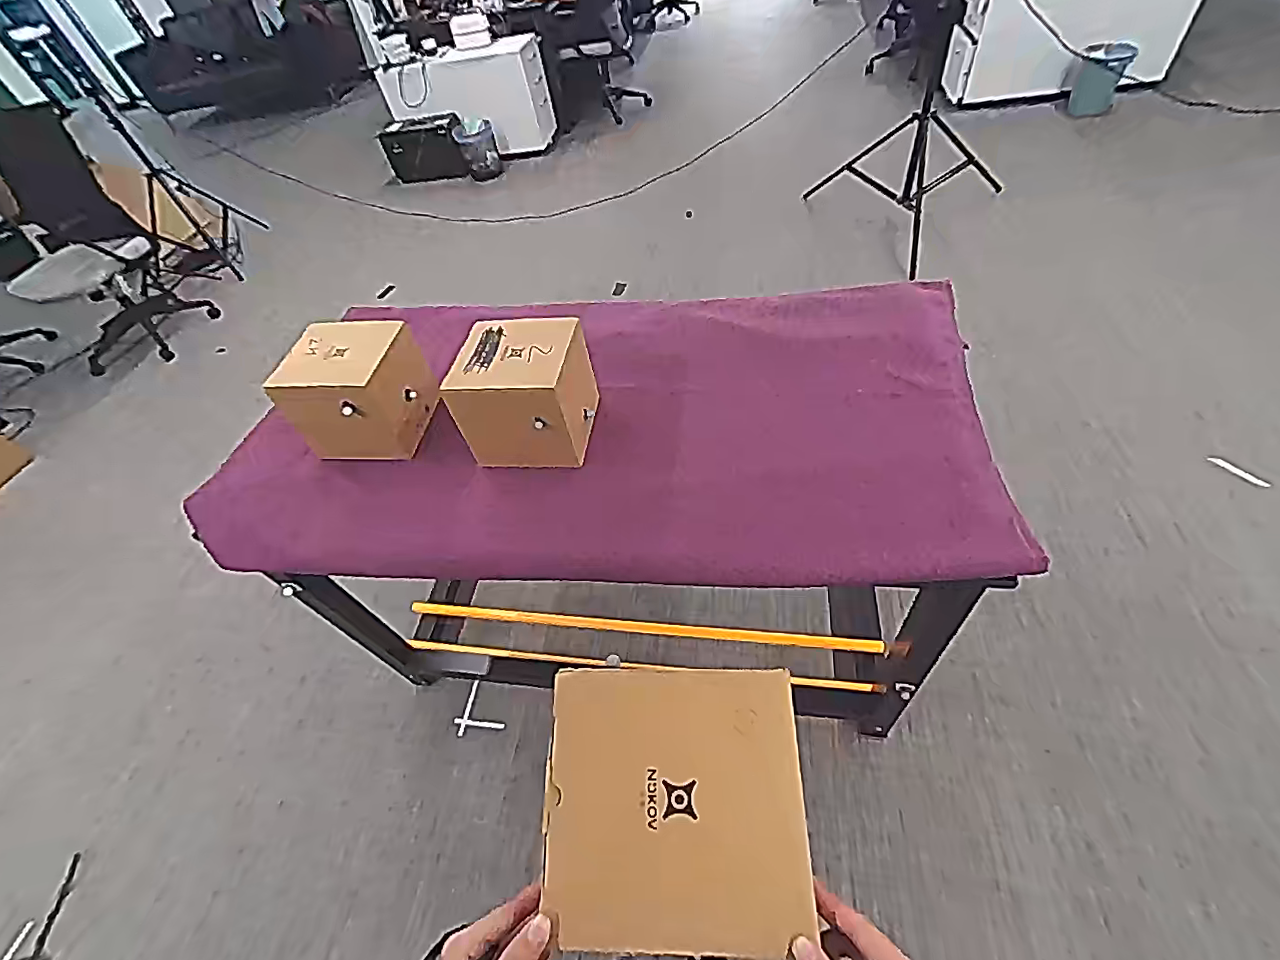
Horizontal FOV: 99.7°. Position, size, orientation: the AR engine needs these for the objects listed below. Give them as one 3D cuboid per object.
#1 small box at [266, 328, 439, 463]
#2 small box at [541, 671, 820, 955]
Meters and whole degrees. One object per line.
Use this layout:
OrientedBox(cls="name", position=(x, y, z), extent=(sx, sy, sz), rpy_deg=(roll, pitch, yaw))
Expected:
OrientedBox(cls="small box", position=(-0.474, -0.141, 0.928), extent=(0.179, 0.176, 0.168), rpy_deg=(1, 50, 8))
OrientedBox(cls="small box", position=(0.032, 0.251, 0.439), extent=(0.179, 0.176, 0.168), rpy_deg=(-3, 63, 6))
